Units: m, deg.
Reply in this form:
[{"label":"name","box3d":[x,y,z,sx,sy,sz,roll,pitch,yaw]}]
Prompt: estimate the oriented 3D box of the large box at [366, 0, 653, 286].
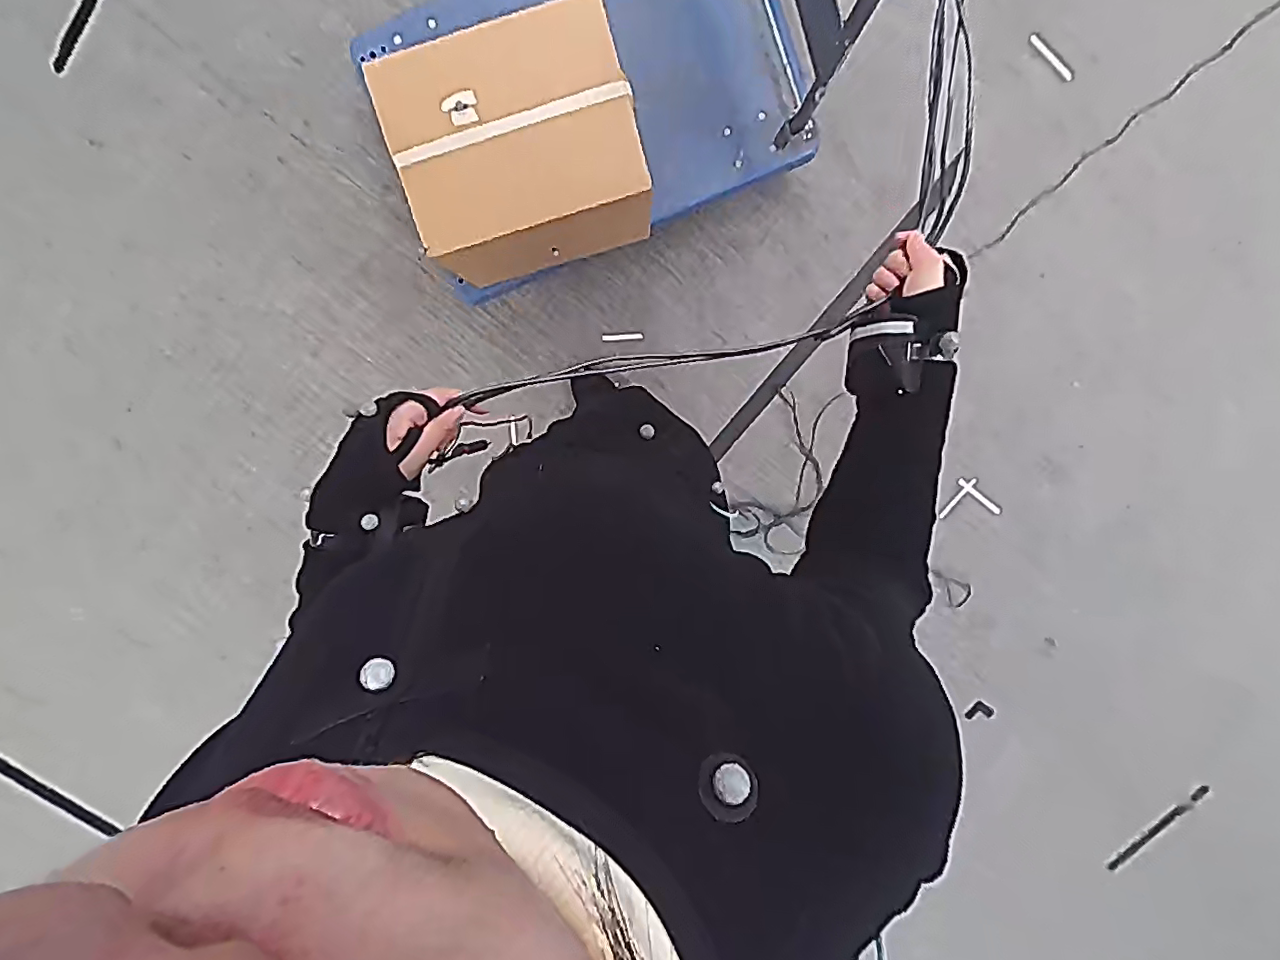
[{"label":"large box","box3d":[-0.209,-0.601,1.030,0.408,0.320,0.320,-16,99,3]}]
